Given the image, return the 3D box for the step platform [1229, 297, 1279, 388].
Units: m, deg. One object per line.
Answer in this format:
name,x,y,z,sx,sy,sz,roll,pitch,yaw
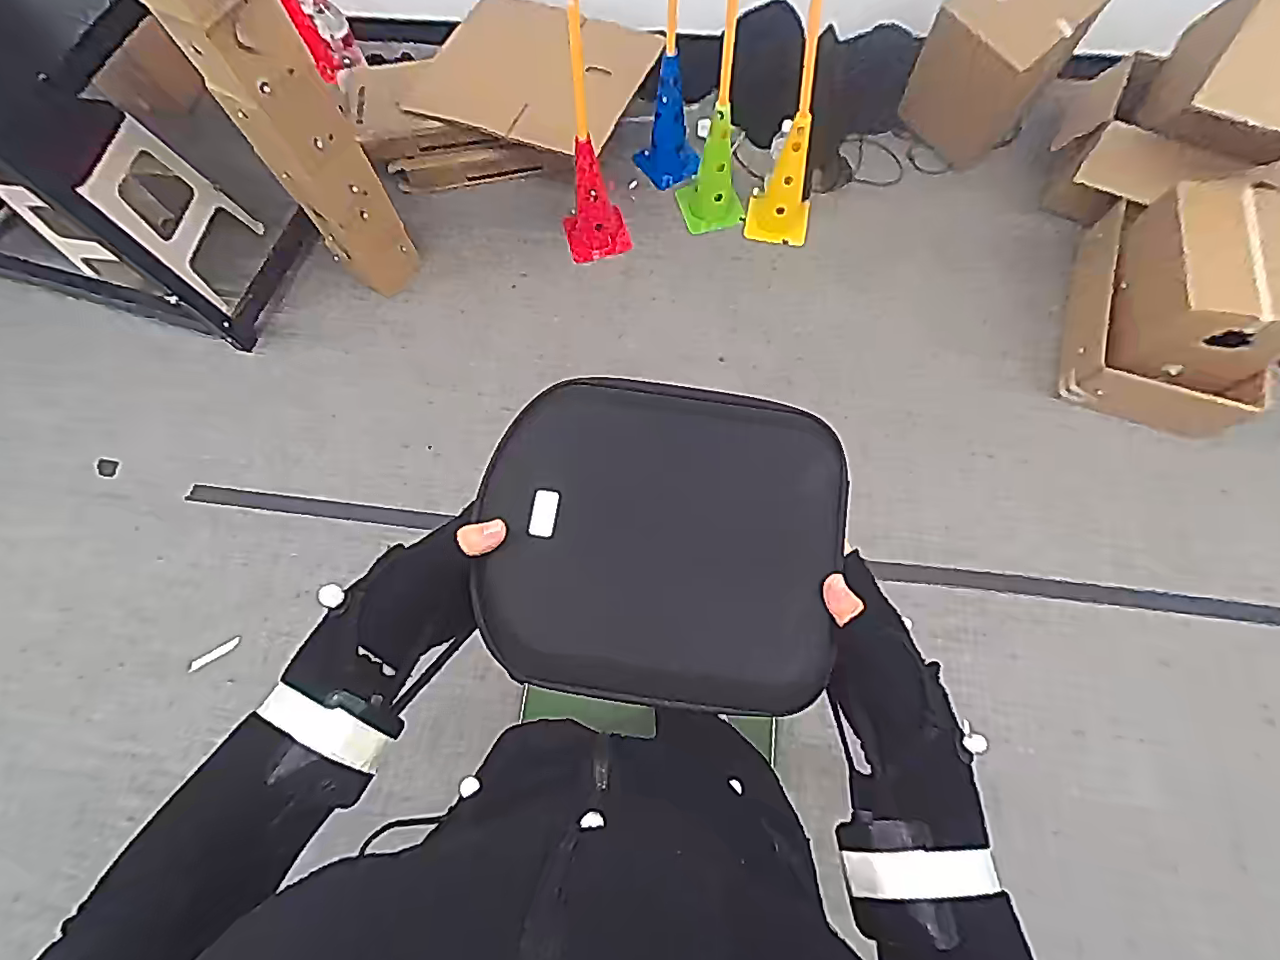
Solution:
step platform,2.130,-0.484,1.546,0.684,0.204,0.286,-21,71,-5
